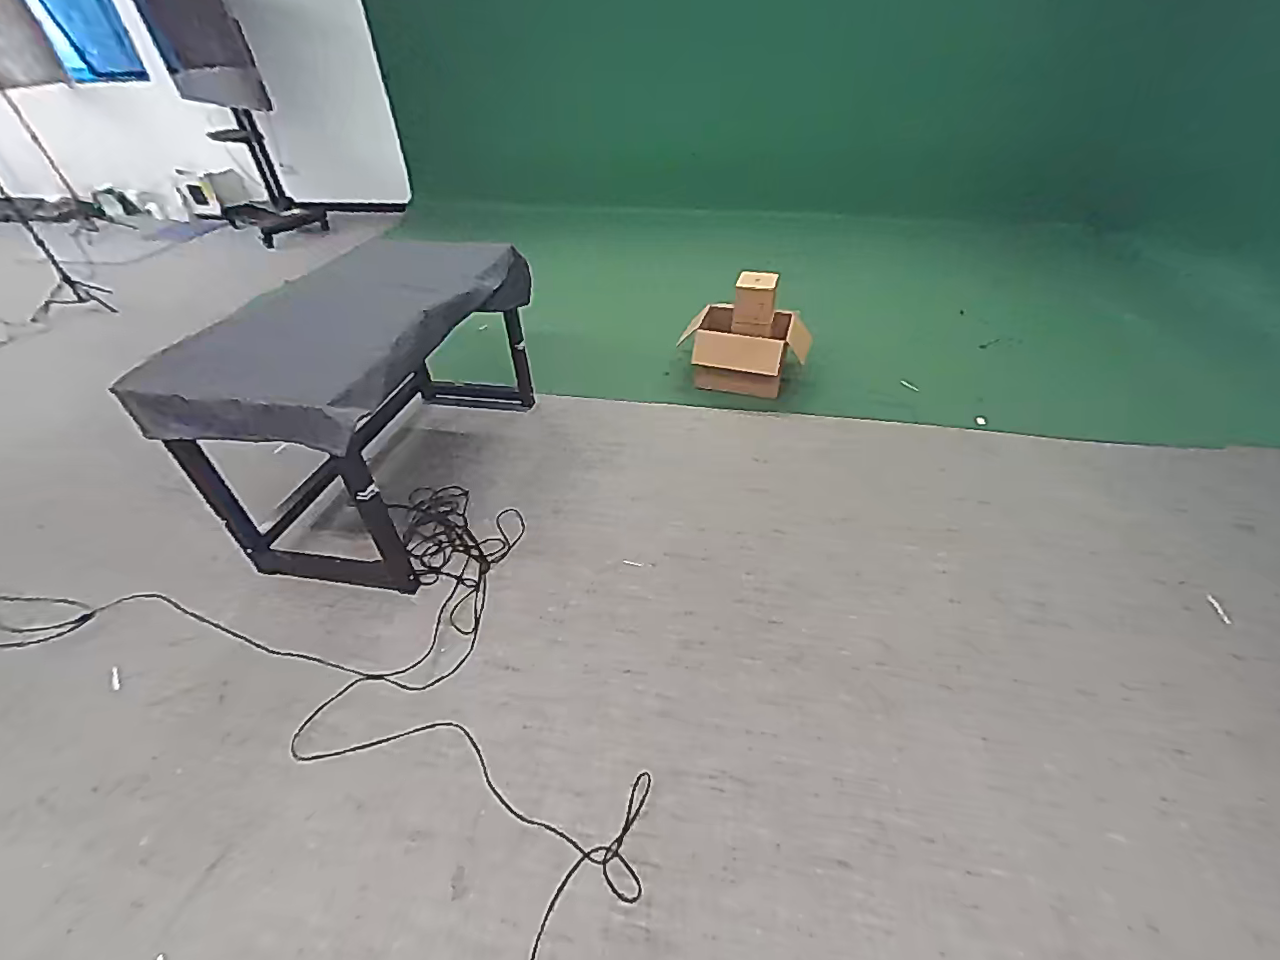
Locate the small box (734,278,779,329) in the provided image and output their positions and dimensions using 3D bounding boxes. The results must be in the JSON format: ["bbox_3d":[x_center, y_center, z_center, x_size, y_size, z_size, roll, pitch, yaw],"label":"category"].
[{"bbox_3d":[0.523,-0.793,2.435,0.168,0.176,0.179,10,41,14],"label":"small box"}]
